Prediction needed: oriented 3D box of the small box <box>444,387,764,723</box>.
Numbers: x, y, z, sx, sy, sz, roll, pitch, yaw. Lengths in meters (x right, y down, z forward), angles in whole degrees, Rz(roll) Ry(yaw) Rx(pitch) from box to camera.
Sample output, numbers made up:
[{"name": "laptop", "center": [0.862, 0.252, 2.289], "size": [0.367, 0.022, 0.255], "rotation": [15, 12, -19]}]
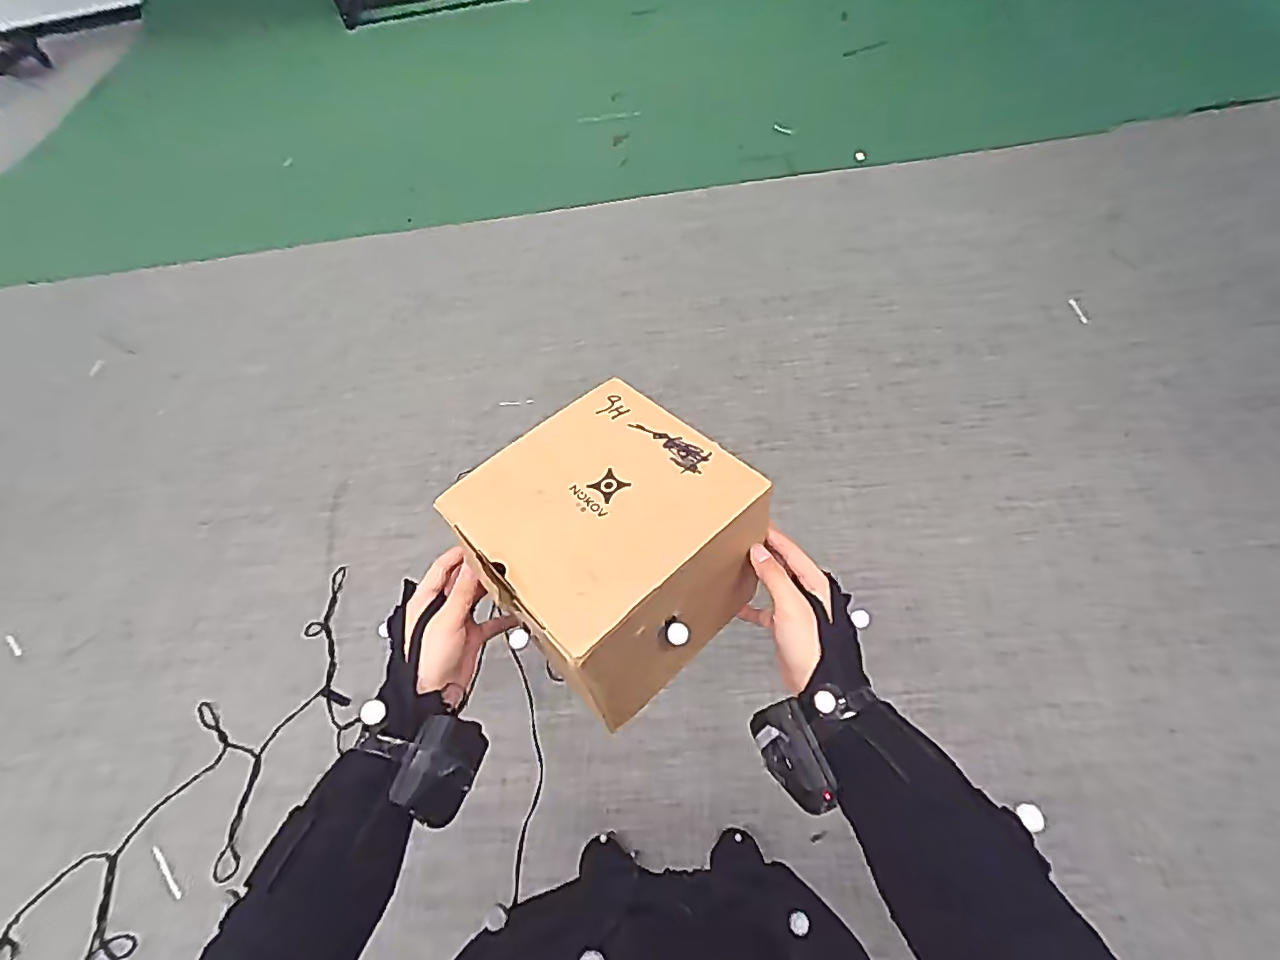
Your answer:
[{"name": "small box", "center": [-0.019, 0.064, 0.443], "size": [0.179, 0.176, 0.168], "rotation": [-38, 58, -21]}]
